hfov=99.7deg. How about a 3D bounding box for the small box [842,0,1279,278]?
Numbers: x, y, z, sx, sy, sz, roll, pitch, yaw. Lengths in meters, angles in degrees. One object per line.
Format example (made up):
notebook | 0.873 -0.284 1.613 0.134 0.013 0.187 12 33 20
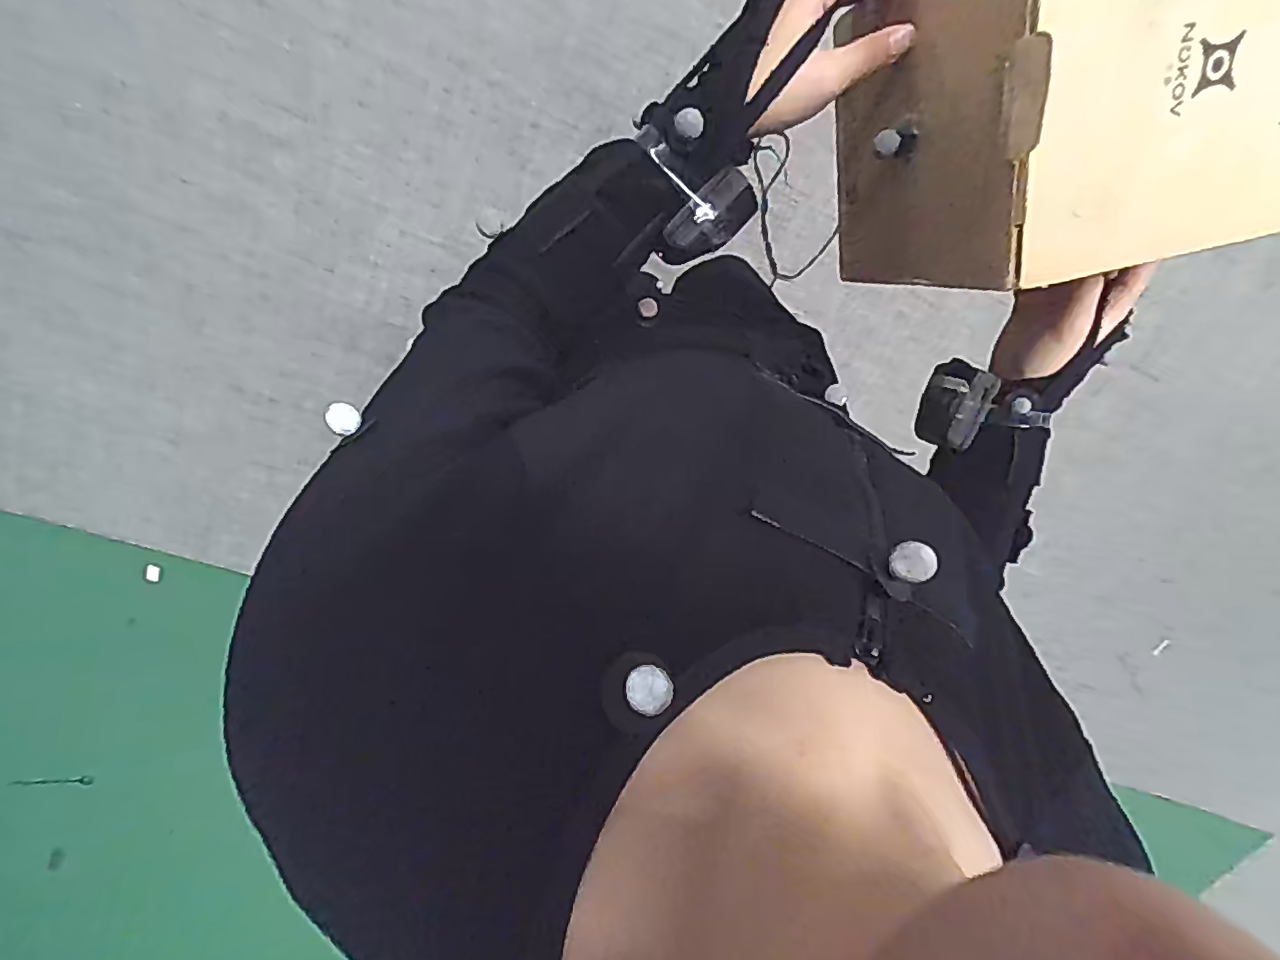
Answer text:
small box | 0.236 -0.221 0.325 0.179 0.176 0.168 -13 113 -4
